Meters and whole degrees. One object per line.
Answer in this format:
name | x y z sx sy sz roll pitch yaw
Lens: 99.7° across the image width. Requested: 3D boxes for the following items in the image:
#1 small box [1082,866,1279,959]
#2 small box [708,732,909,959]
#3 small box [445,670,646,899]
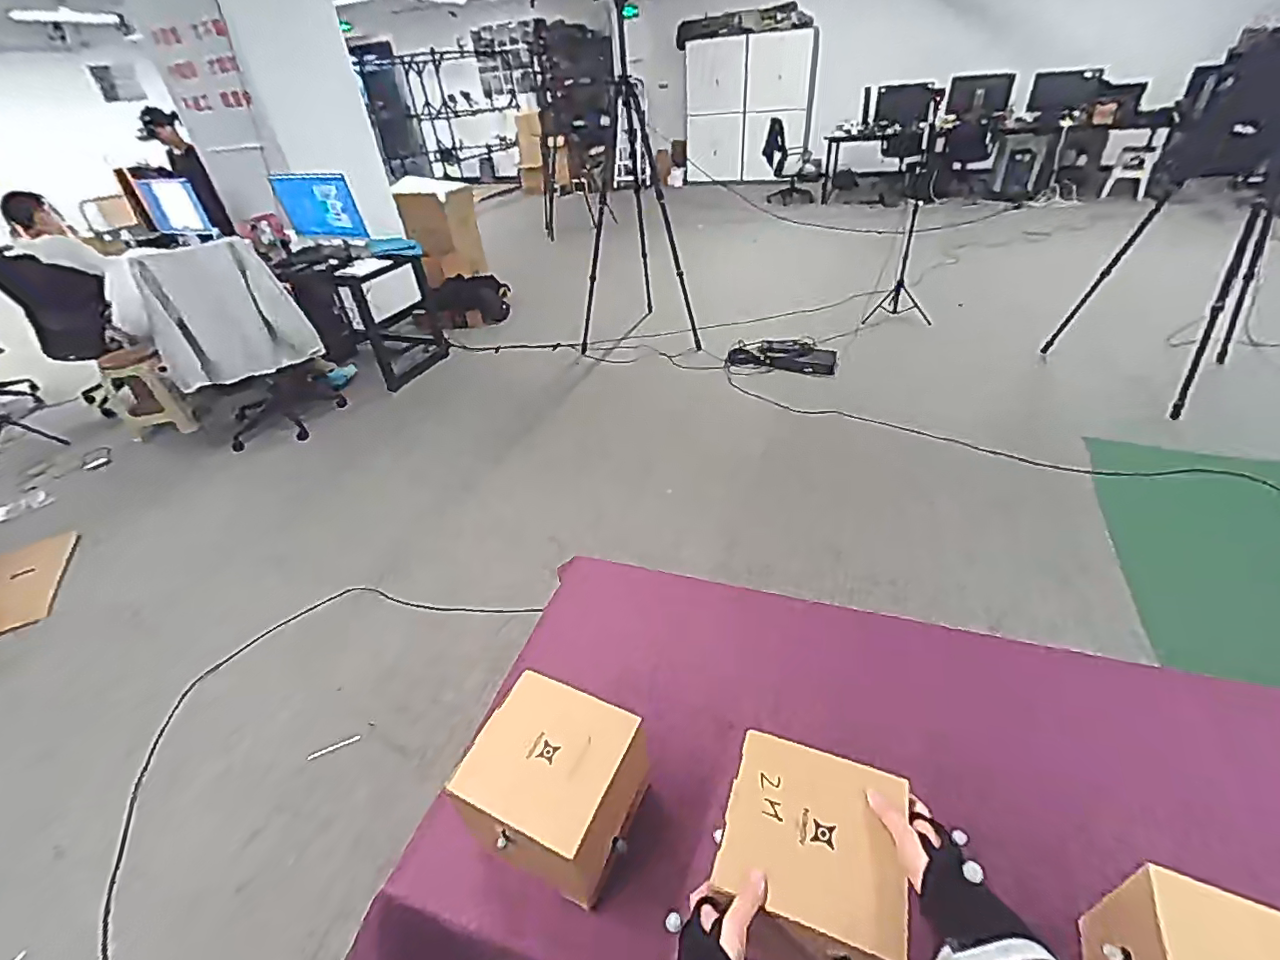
small box | 0.514 0.485 0.461 0.179 0.176 0.168 13 40 23
small box | 0.180 0.418 0.591 0.179 0.176 0.168 10 39 20
small box | -0.105 0.380 0.680 0.179 0.176 0.168 13 41 23
